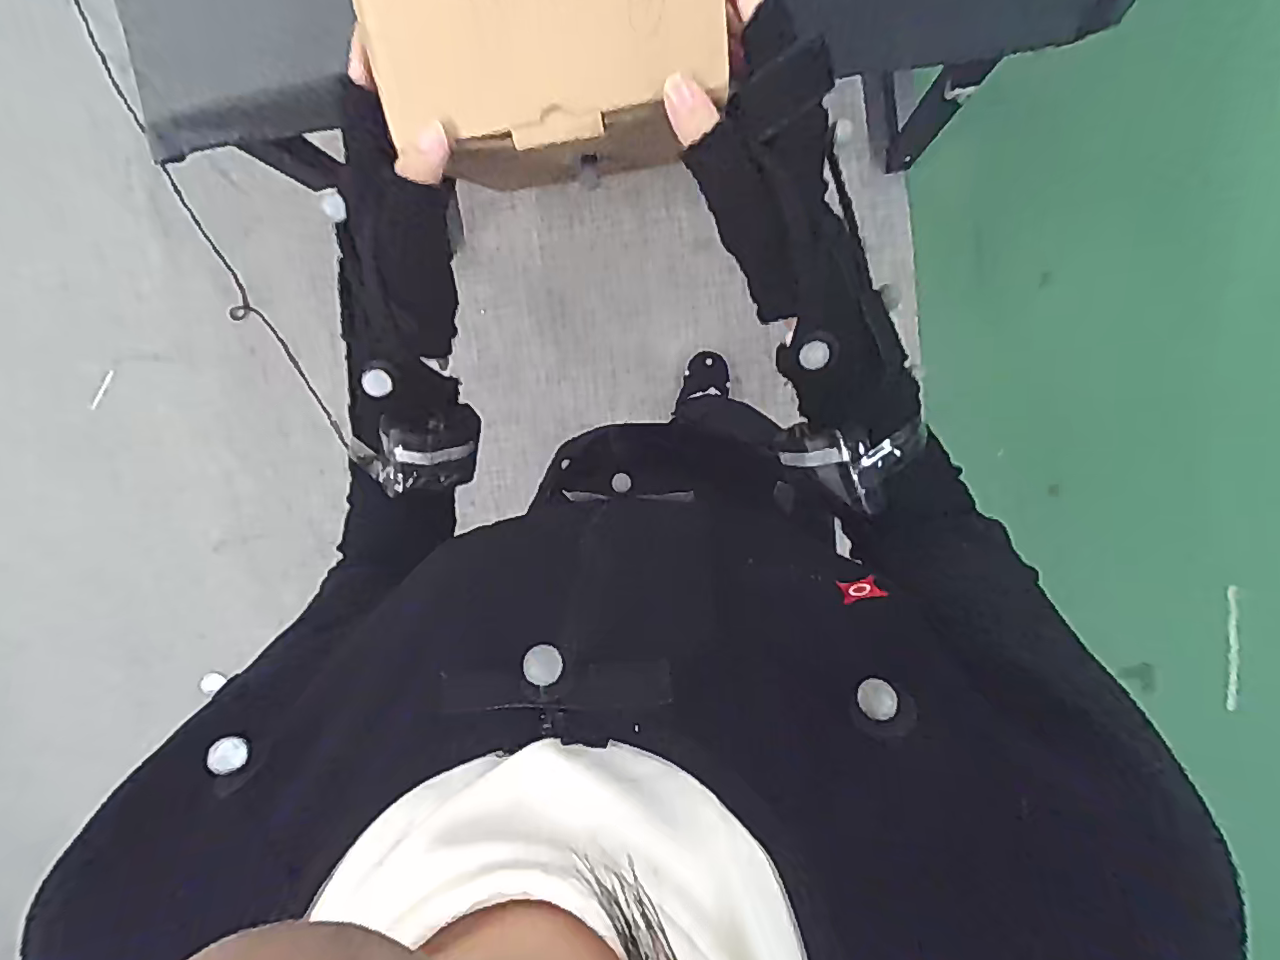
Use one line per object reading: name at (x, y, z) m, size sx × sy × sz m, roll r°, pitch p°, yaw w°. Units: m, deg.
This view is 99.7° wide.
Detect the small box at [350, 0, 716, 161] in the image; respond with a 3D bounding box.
small box at (-0.047, -0.286, 0.293) m, size 0.168 × 0.176 × 0.179 m, roll -5°, pitch 114°, yaw 8°
